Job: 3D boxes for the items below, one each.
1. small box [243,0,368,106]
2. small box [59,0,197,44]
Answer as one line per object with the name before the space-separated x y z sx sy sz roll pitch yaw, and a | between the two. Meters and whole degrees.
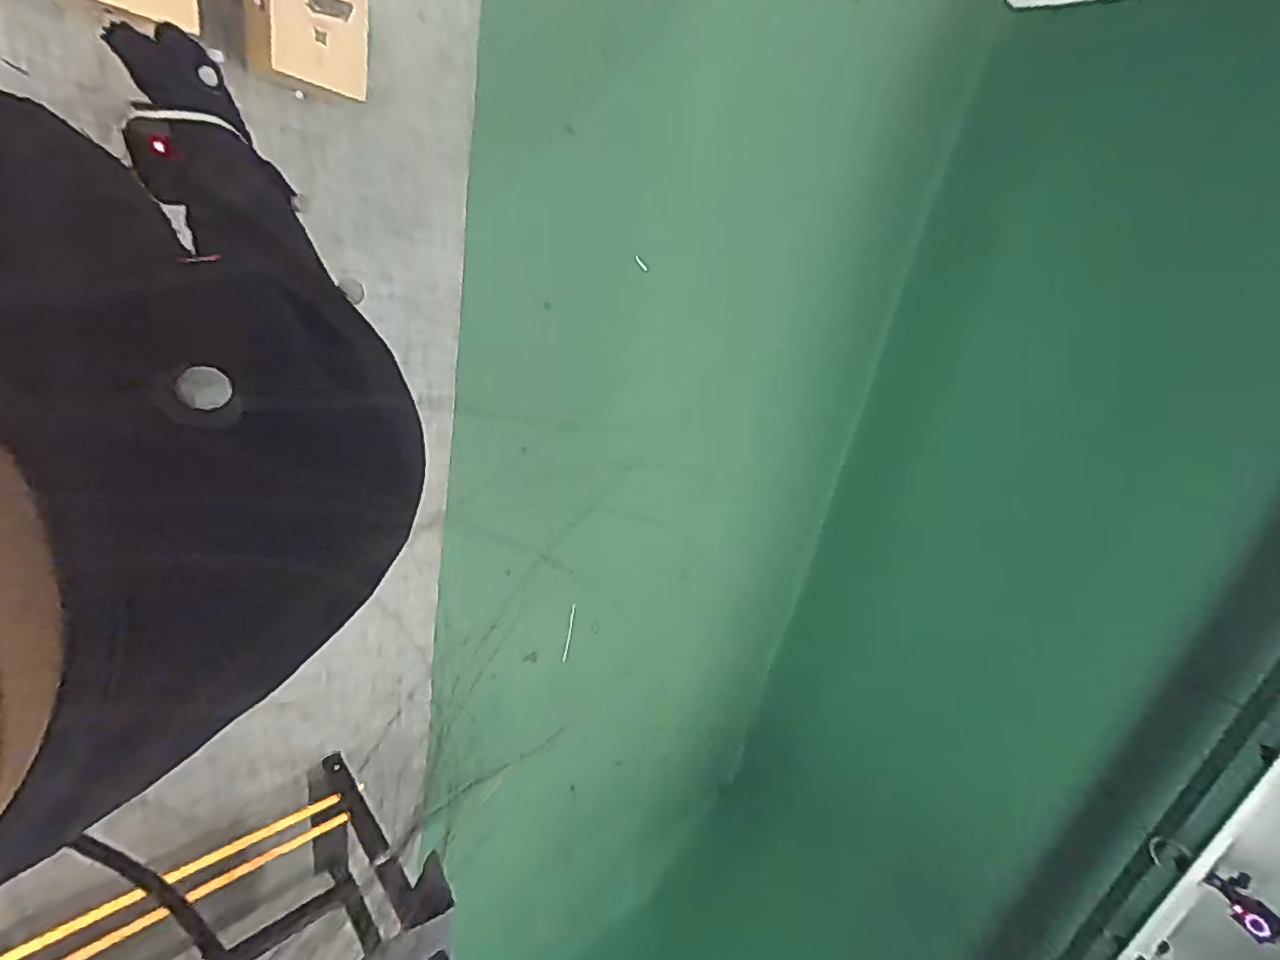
small box | -0.648 -0.855 1.047 0.168 0.176 0.179 -11 121 -46
small box | -0.827 -0.829 0.855 0.168 0.176 0.179 -12 120 -46
